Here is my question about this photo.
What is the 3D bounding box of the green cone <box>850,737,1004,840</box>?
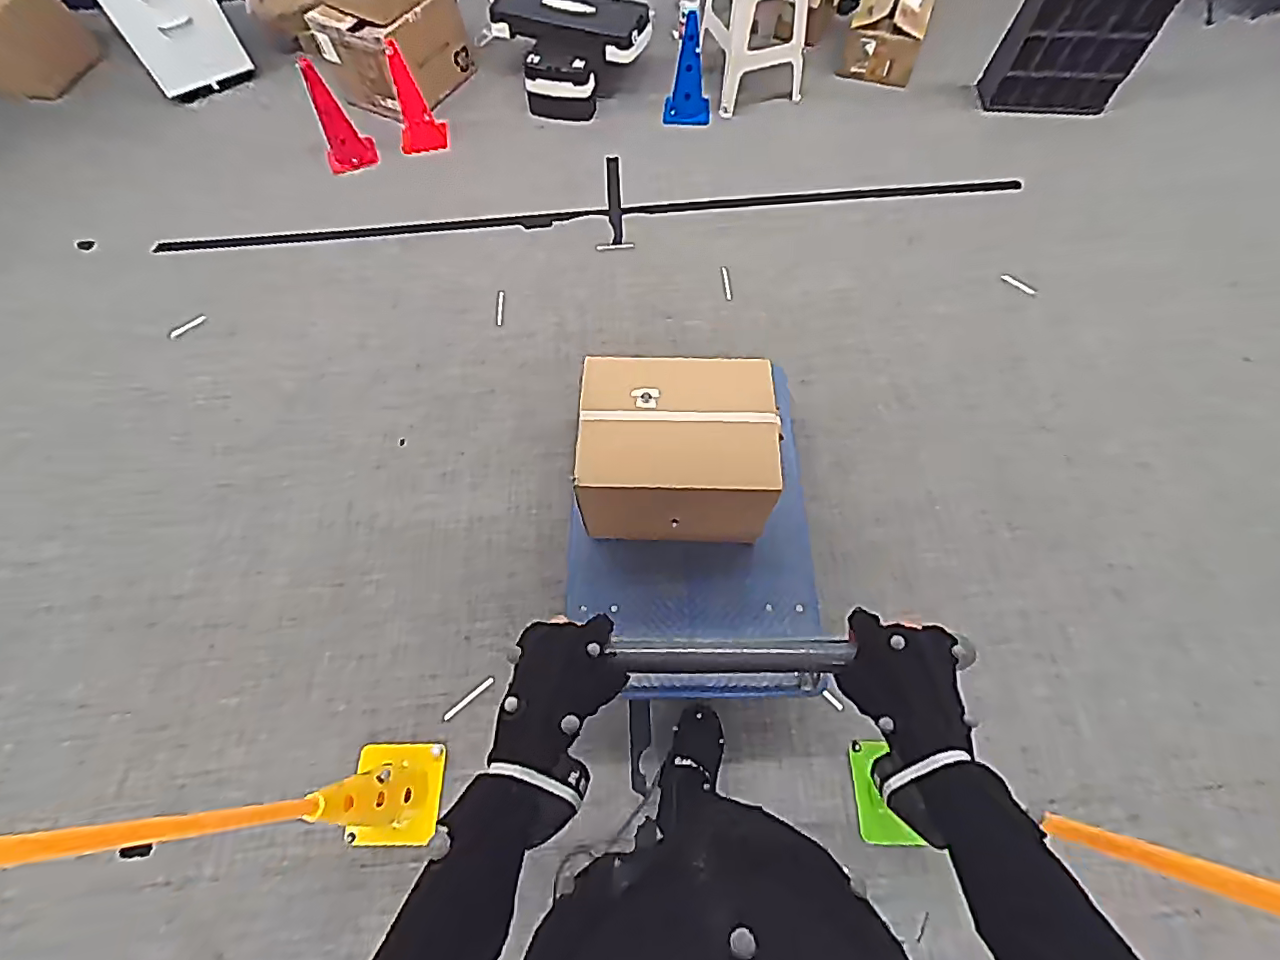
[{"bbox_3d":[0.582,0.611,1.058,0.202,0.368,0.200,0,63,0],"label":"green cone"}]

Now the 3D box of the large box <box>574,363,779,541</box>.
[{"bbox_3d":[0.079,-0.050,1.242,0.408,0.320,0.320,1,64,2],"label":"large box"}]
